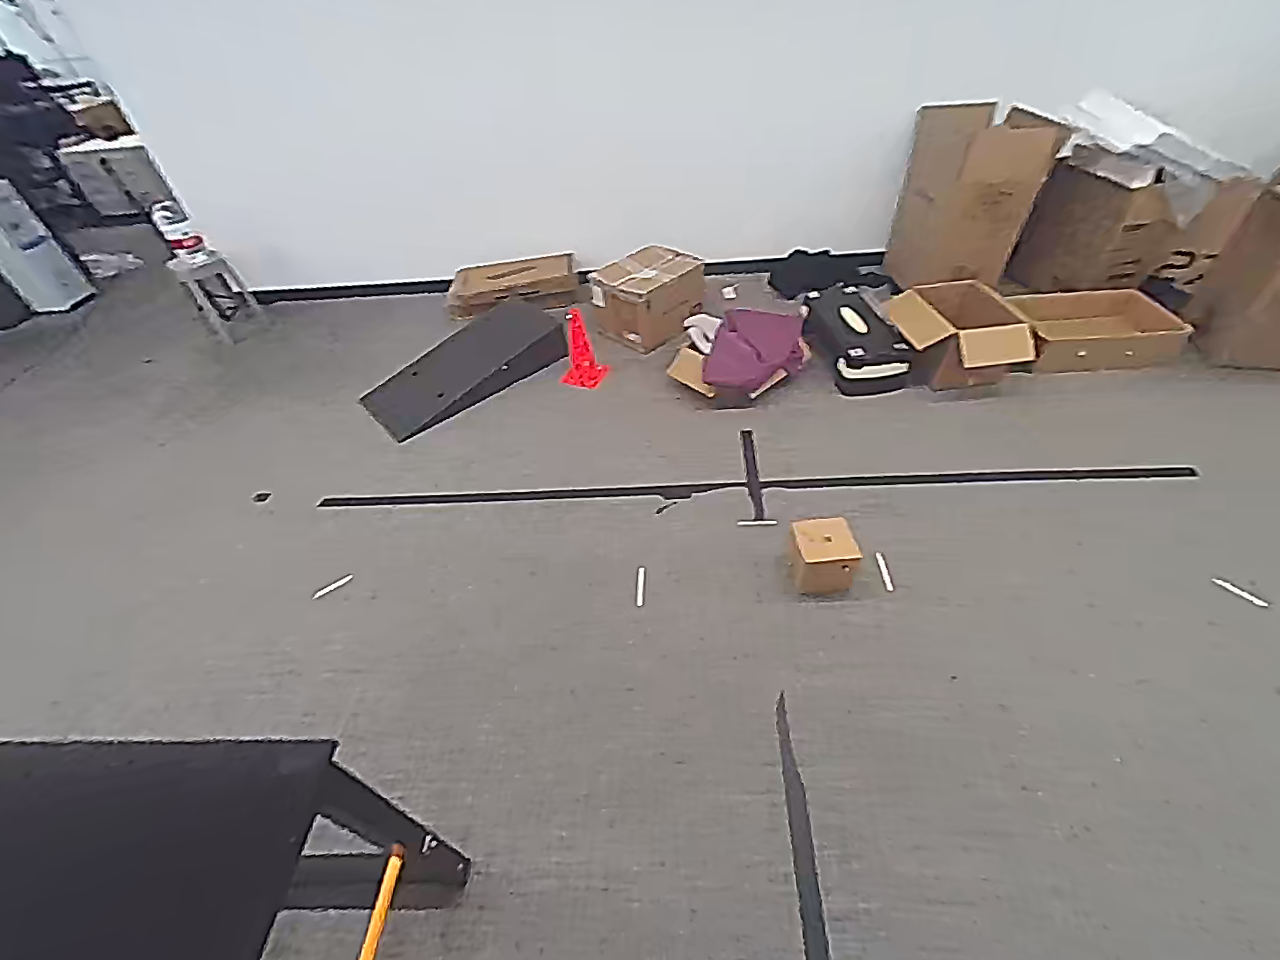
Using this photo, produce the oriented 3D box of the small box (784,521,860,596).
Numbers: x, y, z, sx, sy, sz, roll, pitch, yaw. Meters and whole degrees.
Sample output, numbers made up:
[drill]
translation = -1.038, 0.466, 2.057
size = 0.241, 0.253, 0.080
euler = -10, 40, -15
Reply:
[small box]
translation = 0.576, 0.253, 1.736
size = 0.179, 0.176, 0.168
euler = -6, 44, 0
